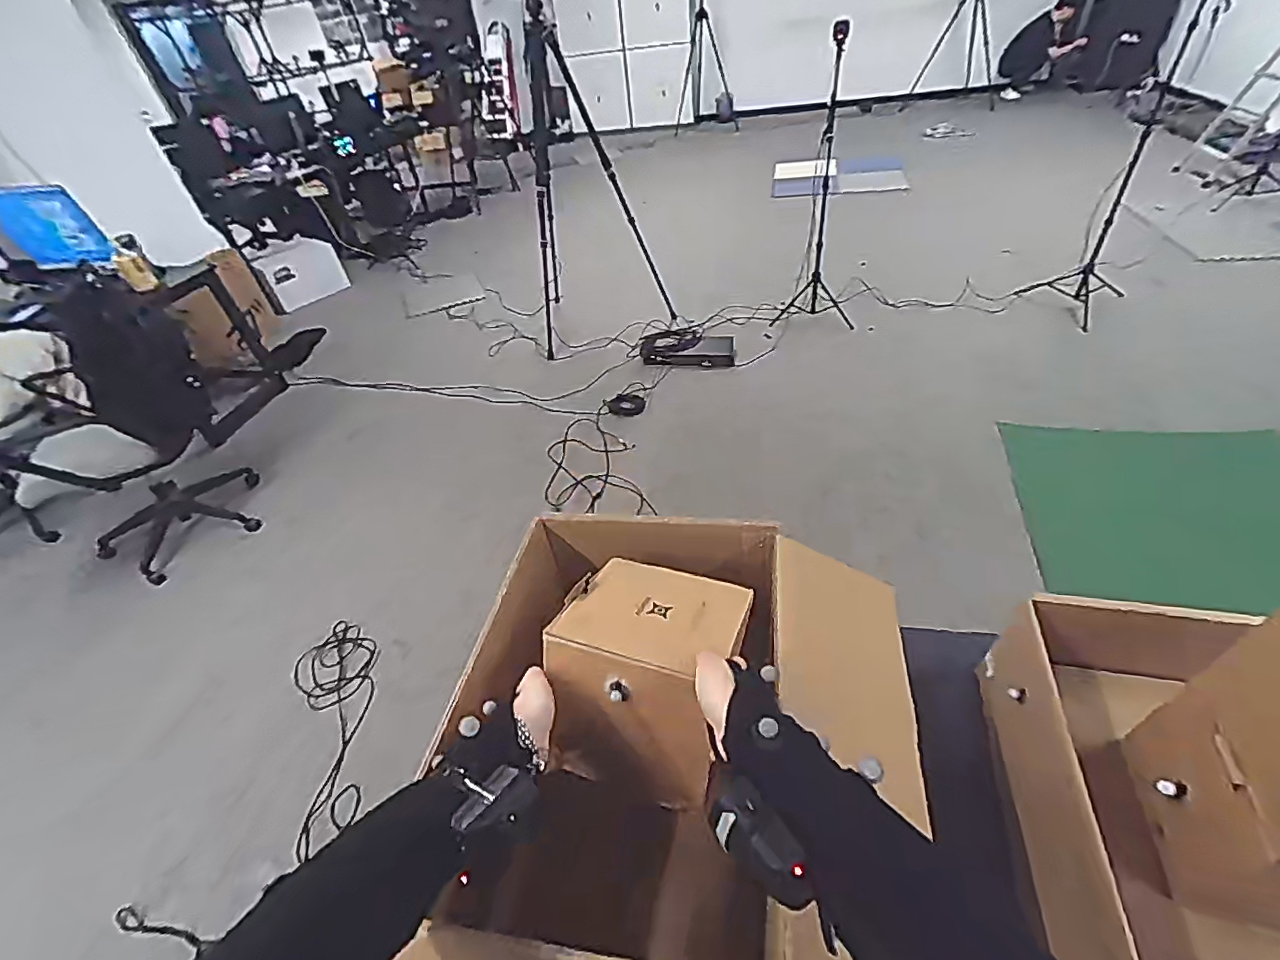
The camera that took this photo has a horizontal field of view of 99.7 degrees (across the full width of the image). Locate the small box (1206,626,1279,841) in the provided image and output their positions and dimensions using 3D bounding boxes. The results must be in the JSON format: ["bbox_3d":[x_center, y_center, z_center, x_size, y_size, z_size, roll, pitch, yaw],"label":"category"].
[{"bbox_3d":[0.604,0.204,0.409,0.168,0.176,0.179,5,45,16],"label":"small box"}]
